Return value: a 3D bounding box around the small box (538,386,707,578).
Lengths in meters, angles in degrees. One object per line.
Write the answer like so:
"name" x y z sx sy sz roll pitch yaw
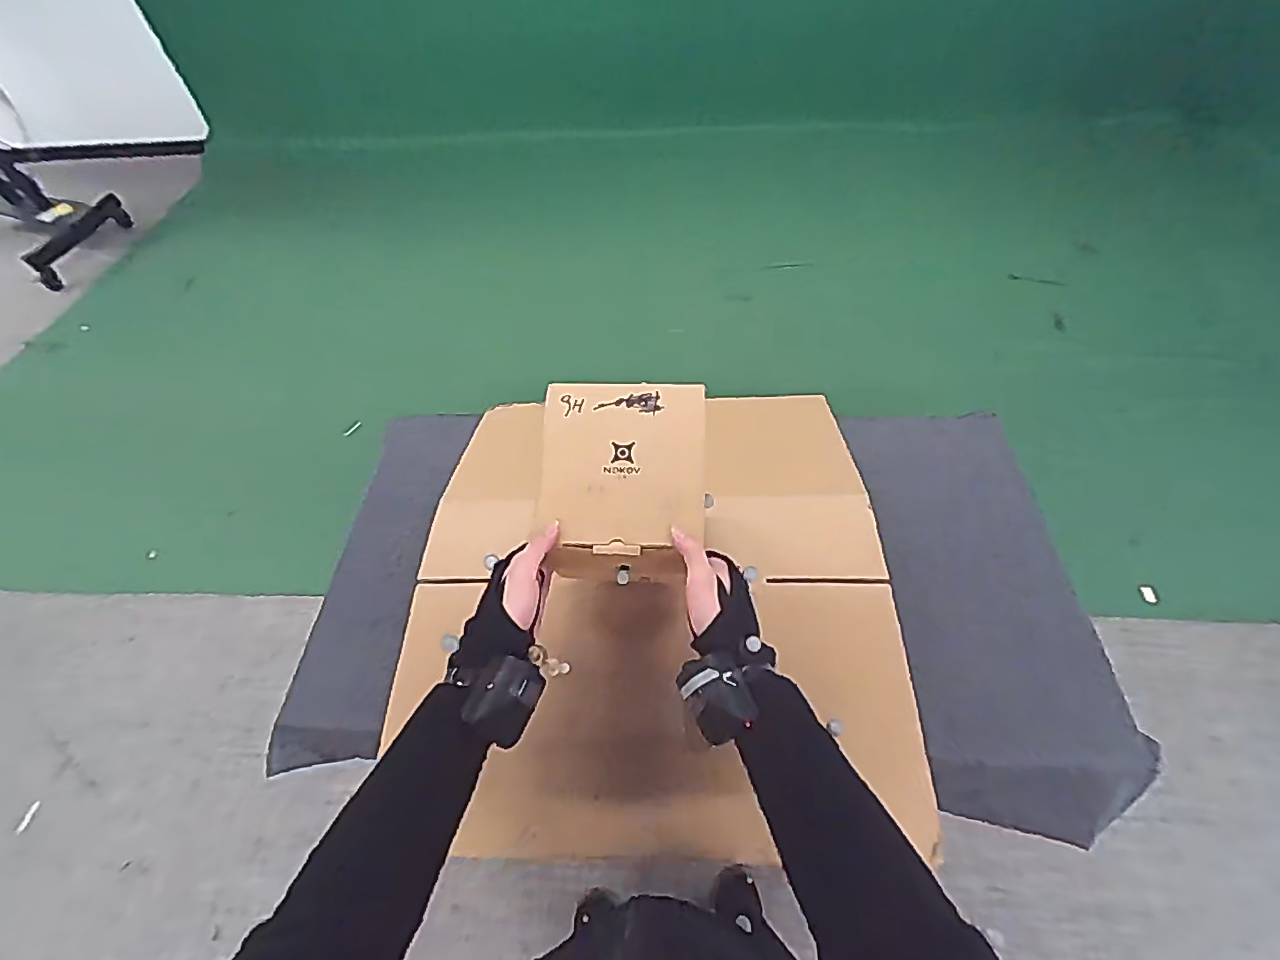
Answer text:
"small box" -0.011 0.013 0.614 0.168 0.176 0.179 -2 69 3
